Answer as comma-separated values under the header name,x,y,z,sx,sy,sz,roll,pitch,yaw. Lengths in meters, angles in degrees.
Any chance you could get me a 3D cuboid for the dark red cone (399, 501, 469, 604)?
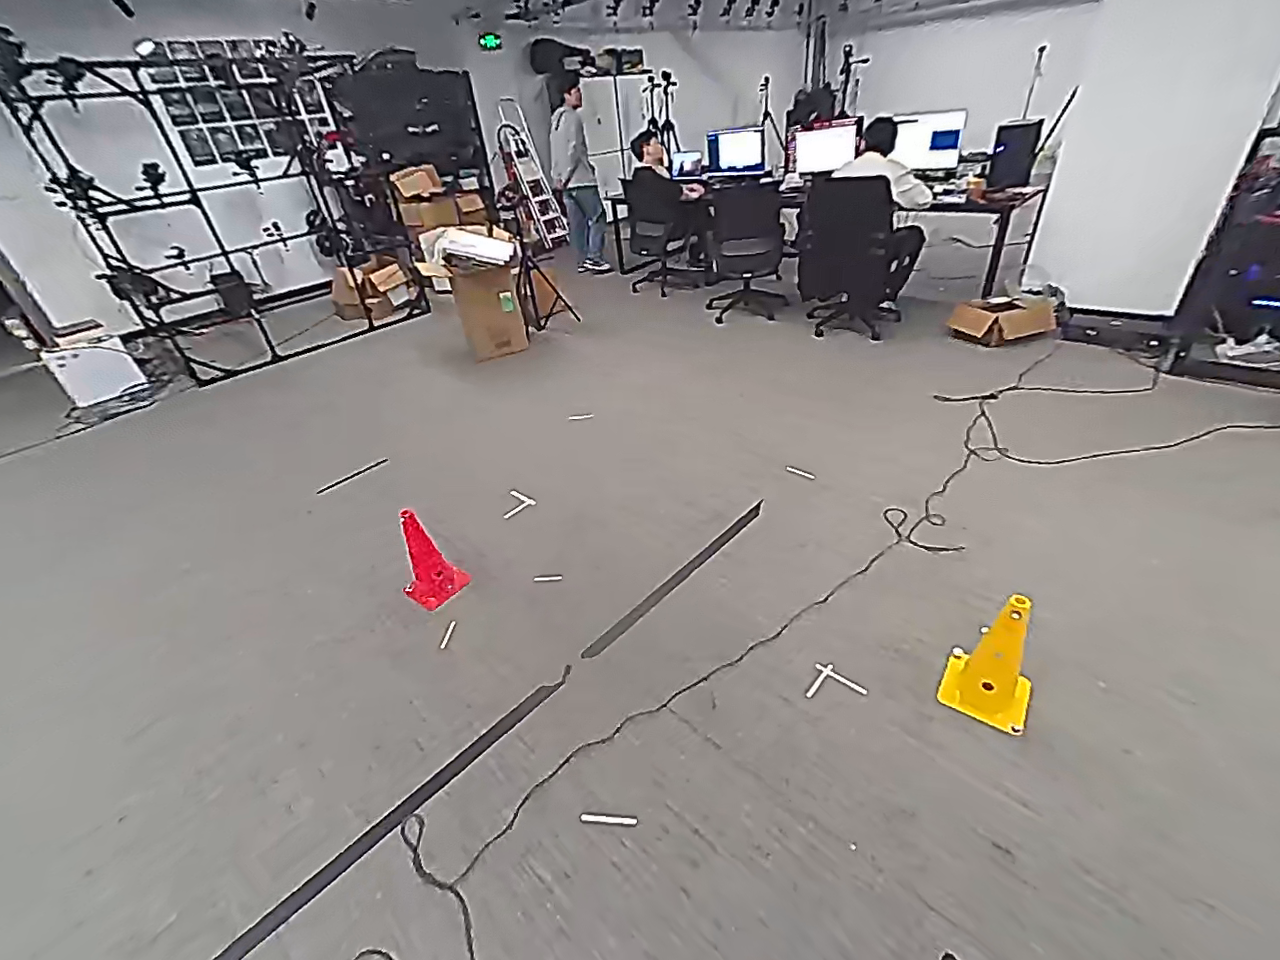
name,x,y,z,sx,sy,sz,roll,pitch,yaw
dark red cone,-0.800,0.246,1.975,0.201,0.394,0.202,19,42,32
